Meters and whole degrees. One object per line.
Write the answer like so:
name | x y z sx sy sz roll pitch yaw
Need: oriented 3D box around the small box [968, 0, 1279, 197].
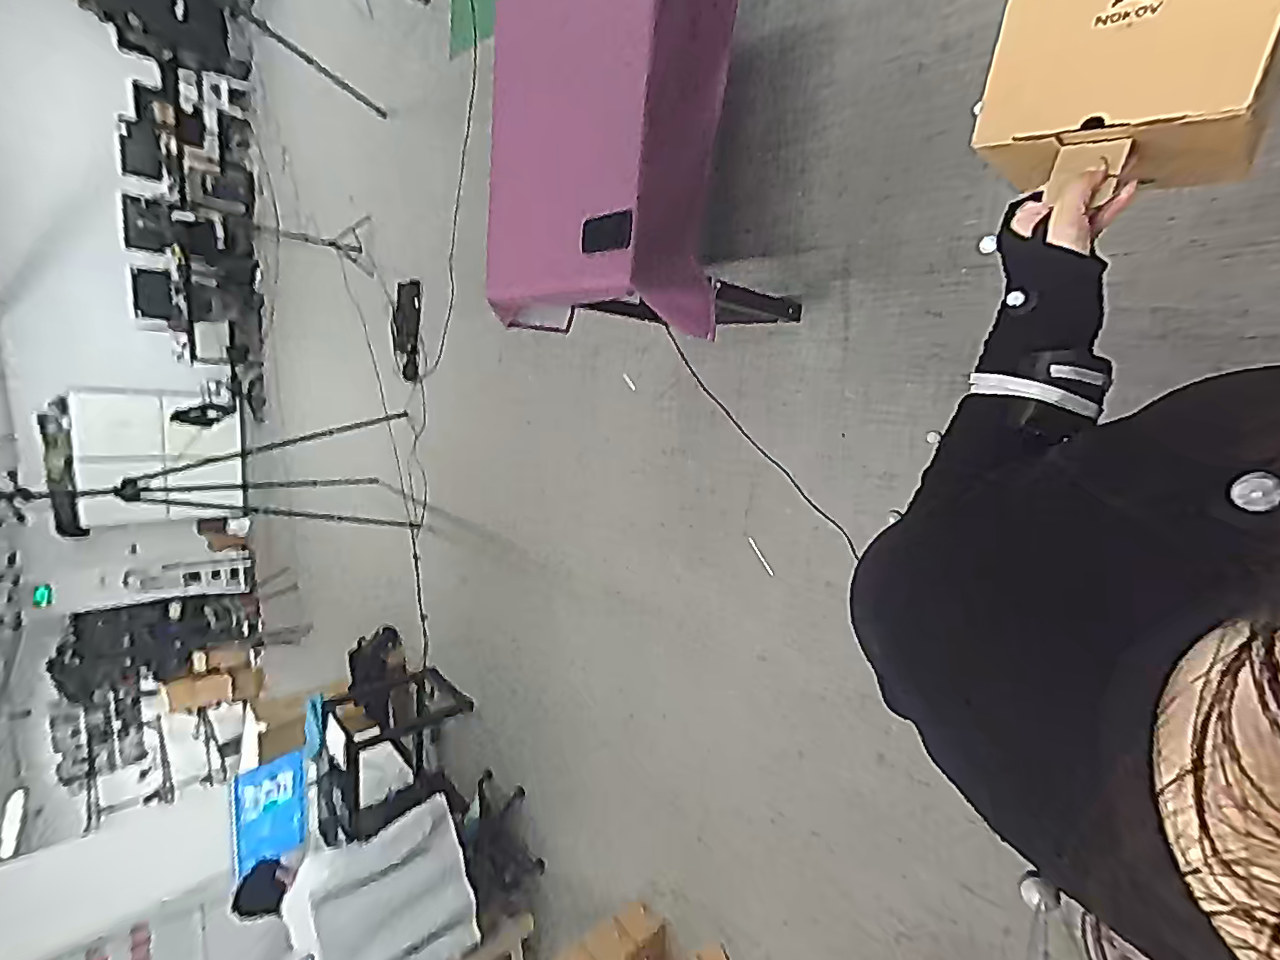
small box | 0.402 -0.350 0.440 0.168 0.176 0.179 22 113 42
